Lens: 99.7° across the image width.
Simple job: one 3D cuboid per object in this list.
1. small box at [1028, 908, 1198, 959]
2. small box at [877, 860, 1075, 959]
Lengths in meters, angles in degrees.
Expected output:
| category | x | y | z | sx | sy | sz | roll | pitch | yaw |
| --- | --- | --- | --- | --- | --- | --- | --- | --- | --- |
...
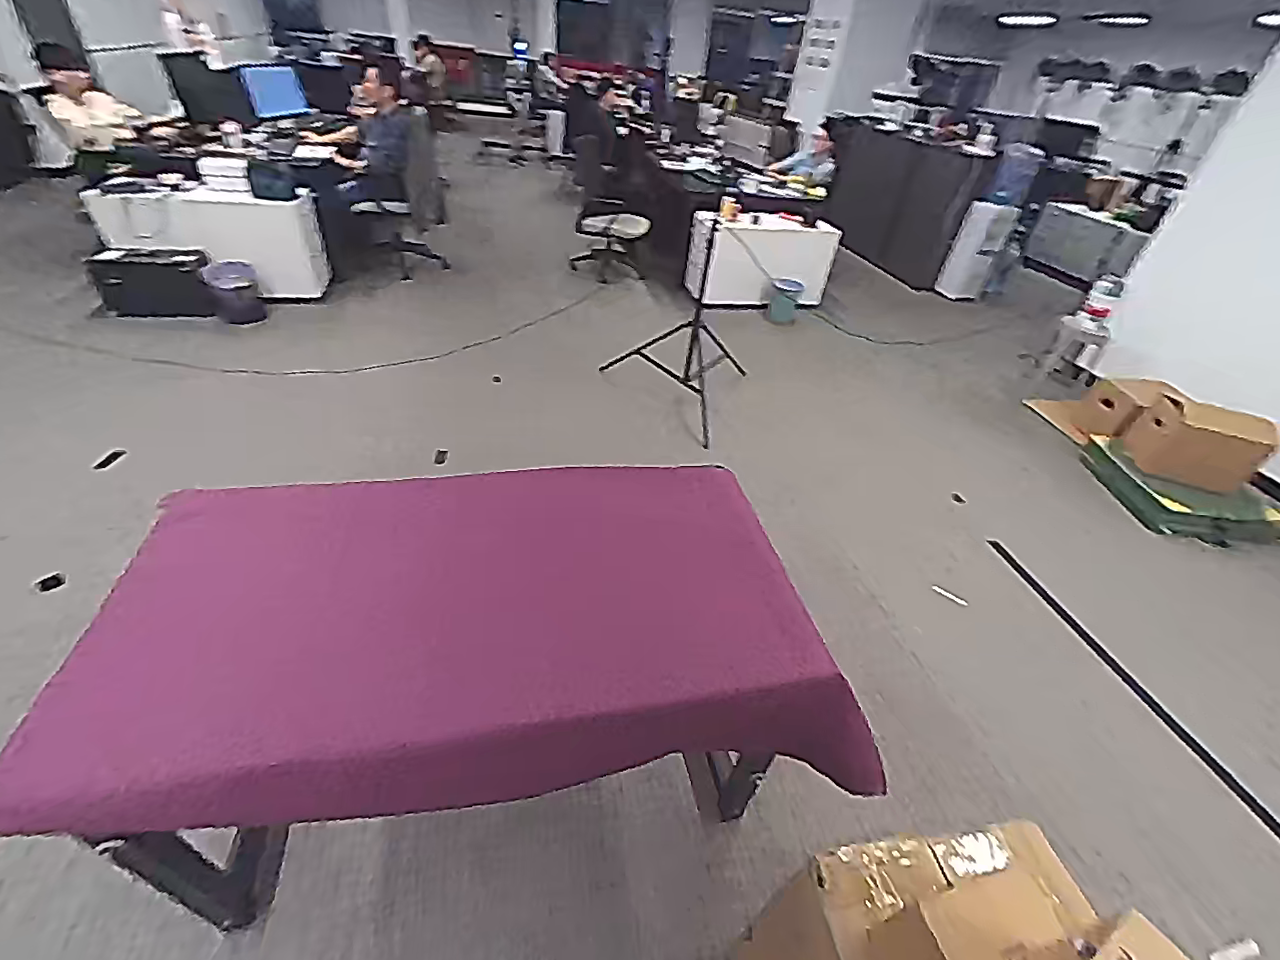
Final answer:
| category | x | y | z | sx | sy | sz | roll | pitch | yaw |
| --- | --- | --- | --- | --- | --- | --- | --- | --- | --- |
| small box | 0.450 | 0.544 | 0.484 | 0.168 | 0.176 | 0.179 | -17 | 44 | -27 |
| small box | 0.428 | 0.611 | 0.662 | 0.168 | 0.176 | 0.179 | -7 | 42 | -15 |
